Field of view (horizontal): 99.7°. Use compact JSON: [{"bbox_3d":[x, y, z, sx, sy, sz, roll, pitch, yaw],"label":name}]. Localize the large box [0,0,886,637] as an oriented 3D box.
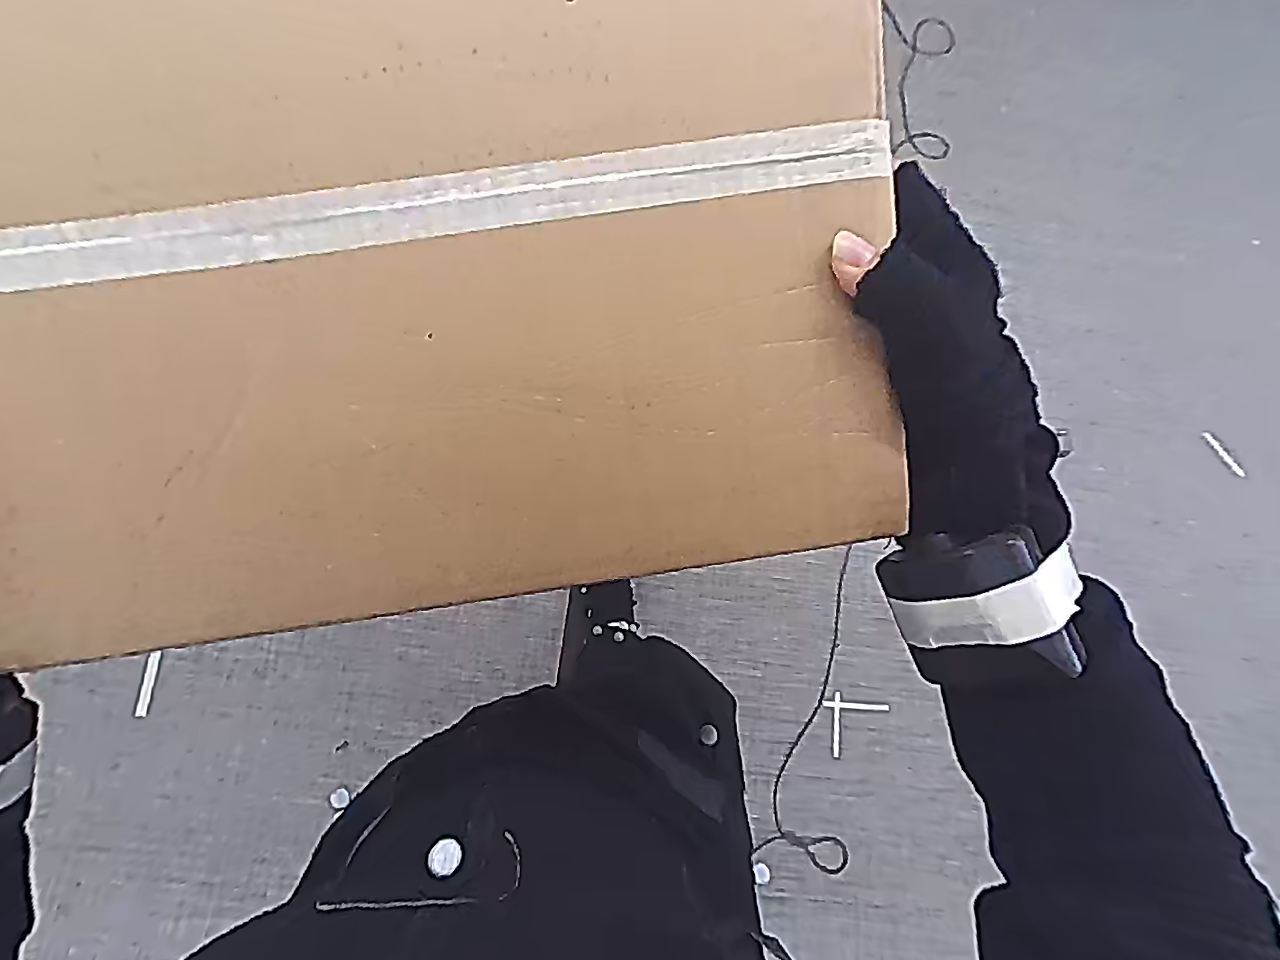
[{"bbox_3d":[-0.107,-0.134,0.363,0.408,0.320,0.320,-7,100,-3],"label":"large box"}]
